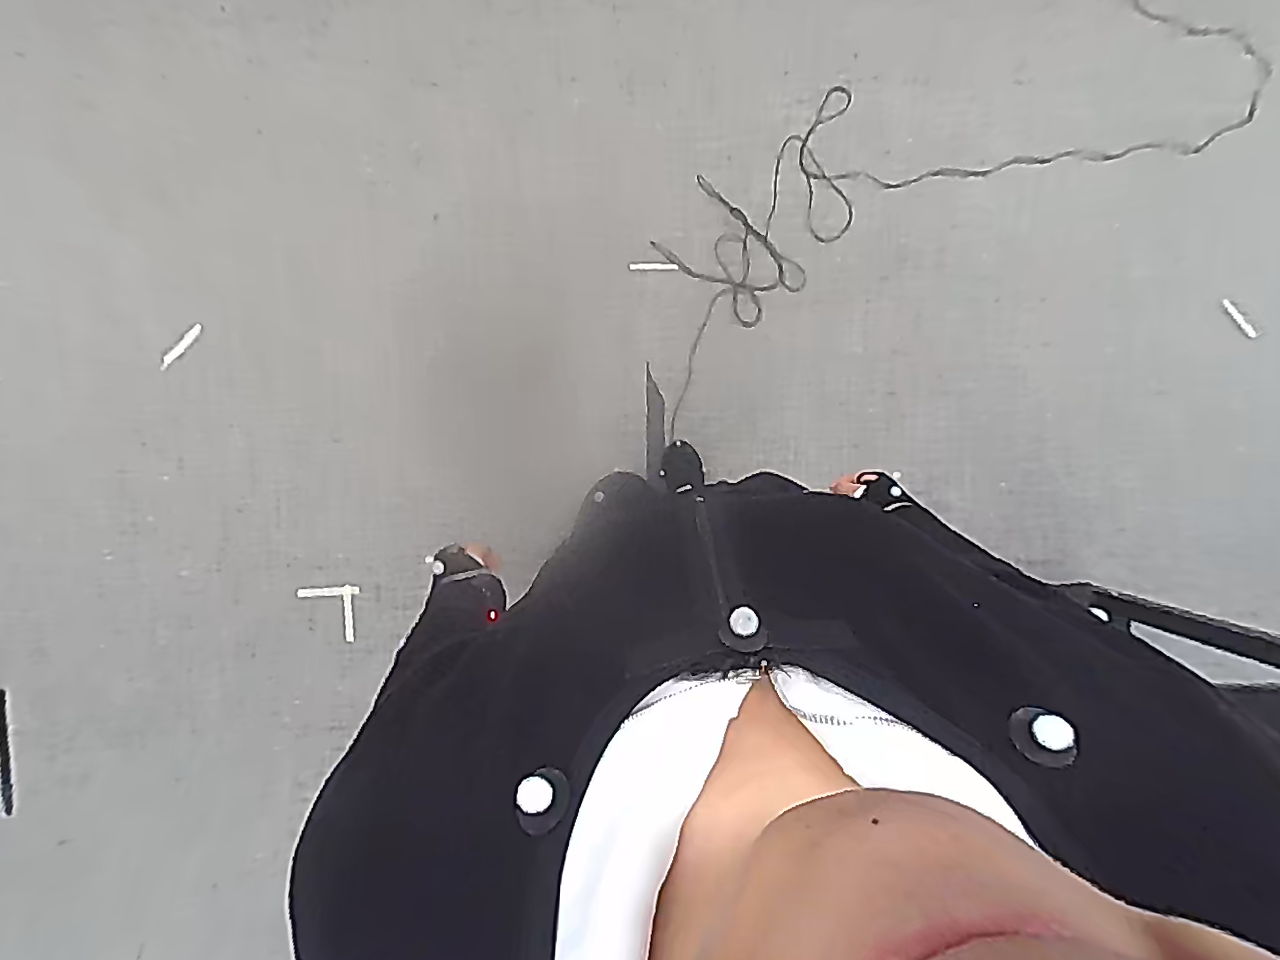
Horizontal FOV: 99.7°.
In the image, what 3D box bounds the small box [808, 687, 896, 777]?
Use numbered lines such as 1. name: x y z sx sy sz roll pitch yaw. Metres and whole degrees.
1. small box: 0.558 0.663 1.439 0.179 0.176 0.168 -1 91 2
